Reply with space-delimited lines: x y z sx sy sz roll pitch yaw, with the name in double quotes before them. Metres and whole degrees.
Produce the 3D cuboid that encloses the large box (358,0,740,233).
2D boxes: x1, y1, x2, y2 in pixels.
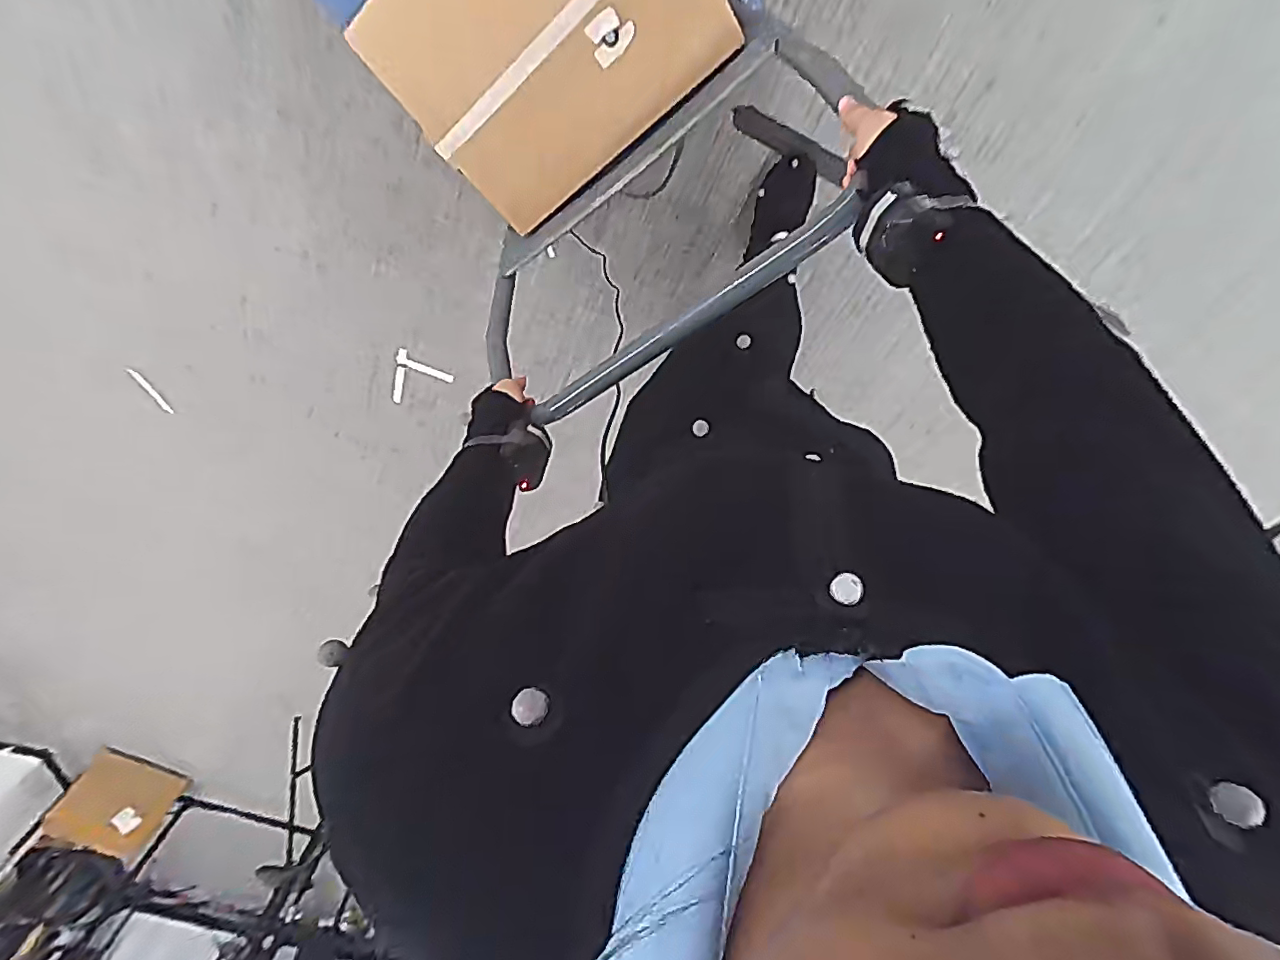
"large box" -0.123 -0.666 0.799 0.408 0.320 0.320 -31 129 23
